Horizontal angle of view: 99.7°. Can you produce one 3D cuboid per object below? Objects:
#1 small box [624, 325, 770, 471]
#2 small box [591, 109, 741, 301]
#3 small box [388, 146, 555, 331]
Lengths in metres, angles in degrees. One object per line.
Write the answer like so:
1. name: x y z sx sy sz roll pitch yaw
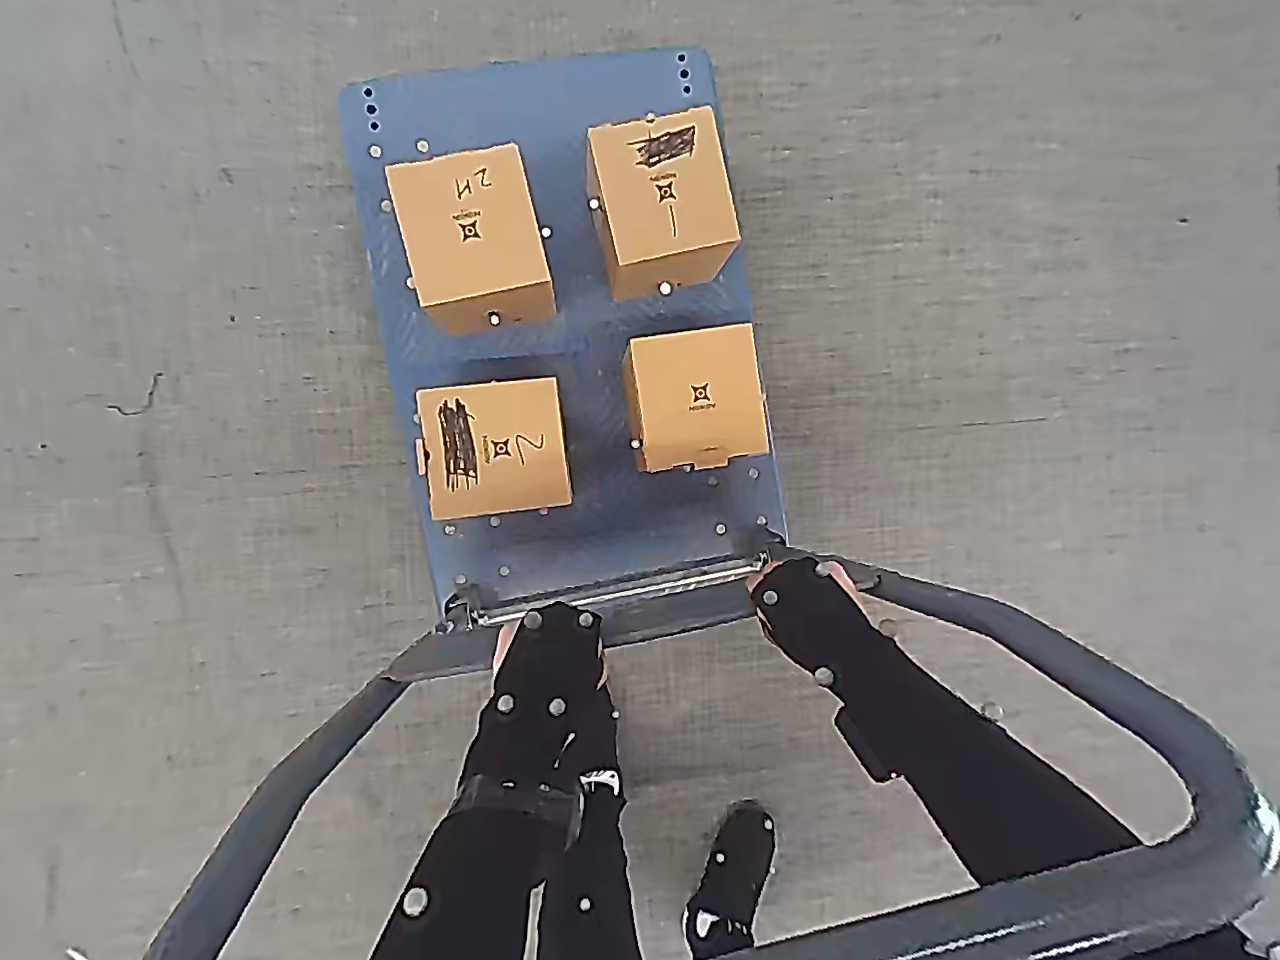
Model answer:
1. small box: 0.072 -0.110 0.782 0.168 0.176 0.179 -9 93 -5
2. small box: 0.027 -0.376 0.766 0.168 0.176 0.179 -13 94 -4
3. small box: -0.217 -0.315 0.745 0.168 0.176 0.179 -13 93 -6
